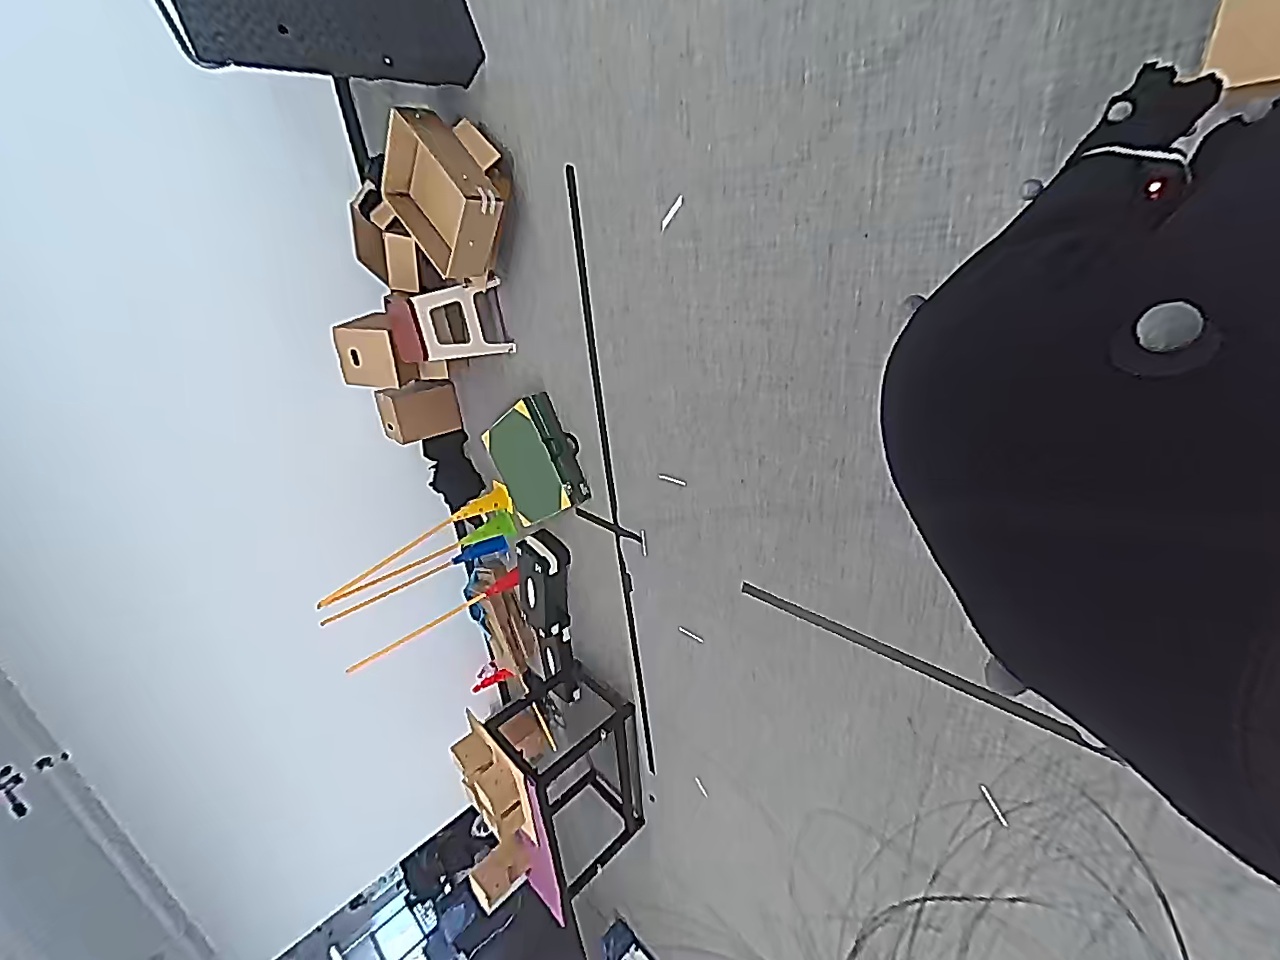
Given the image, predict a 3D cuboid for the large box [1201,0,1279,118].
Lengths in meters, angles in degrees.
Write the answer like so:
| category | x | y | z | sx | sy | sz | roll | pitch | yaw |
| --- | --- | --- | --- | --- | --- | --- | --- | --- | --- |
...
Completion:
| category | x | y | z | sx | sy | sz | roll | pitch | yaw |
| --- | --- | --- | --- | --- | --- | --- | --- | --- | --- |
| large box | 1.018 | -0.678 | 0.663 | 0.408 | 0.320 | 0.320 | 19 | 124 | 42 |
